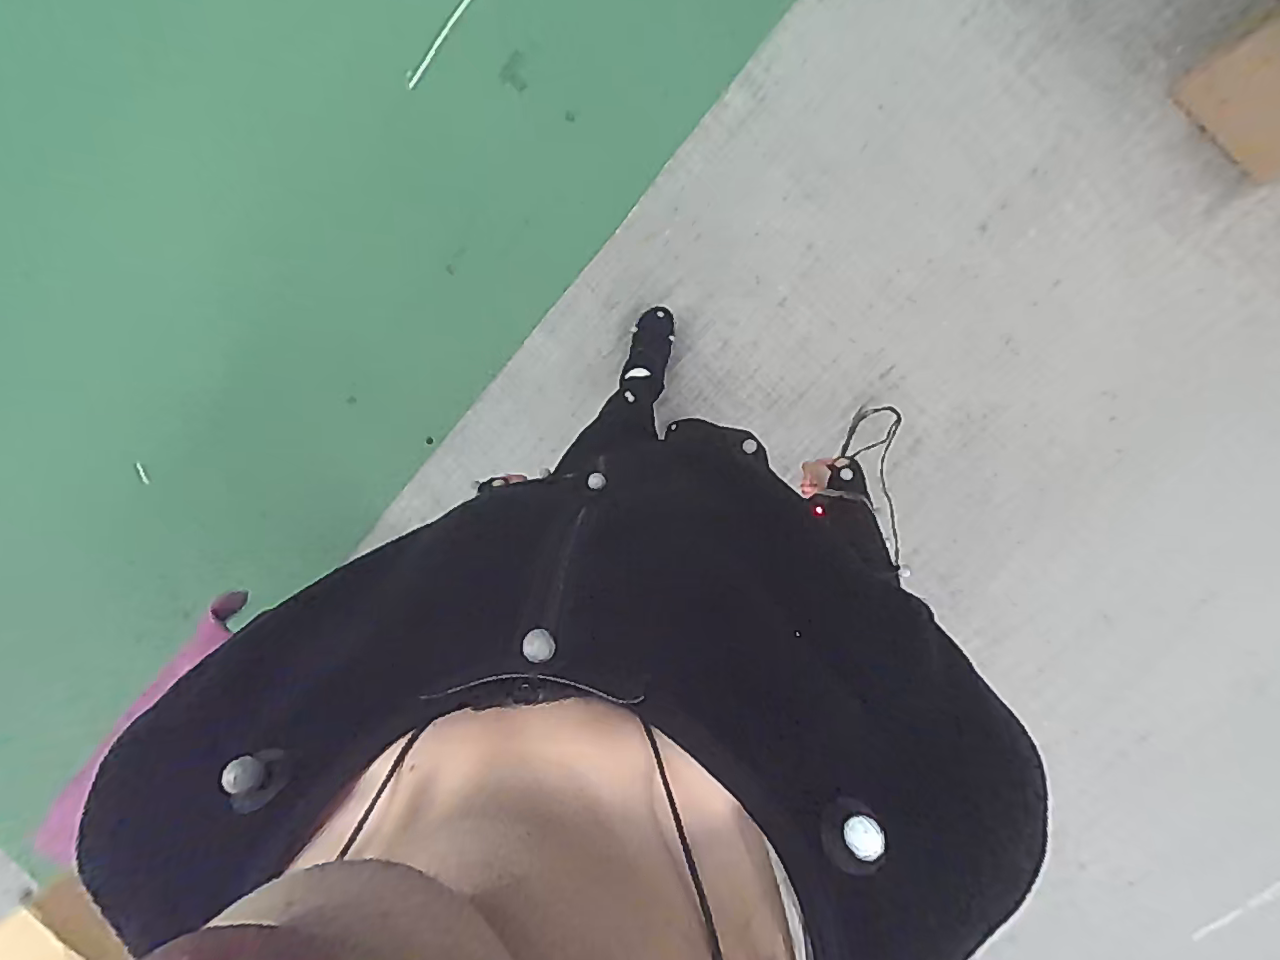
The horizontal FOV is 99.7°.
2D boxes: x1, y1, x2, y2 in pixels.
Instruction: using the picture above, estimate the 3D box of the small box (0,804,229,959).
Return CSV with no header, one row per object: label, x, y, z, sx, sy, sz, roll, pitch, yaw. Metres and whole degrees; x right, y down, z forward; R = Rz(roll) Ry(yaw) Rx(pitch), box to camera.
small box,-0.707,0.583,0.715,0.179,0.176,0.168,-39,93,12
